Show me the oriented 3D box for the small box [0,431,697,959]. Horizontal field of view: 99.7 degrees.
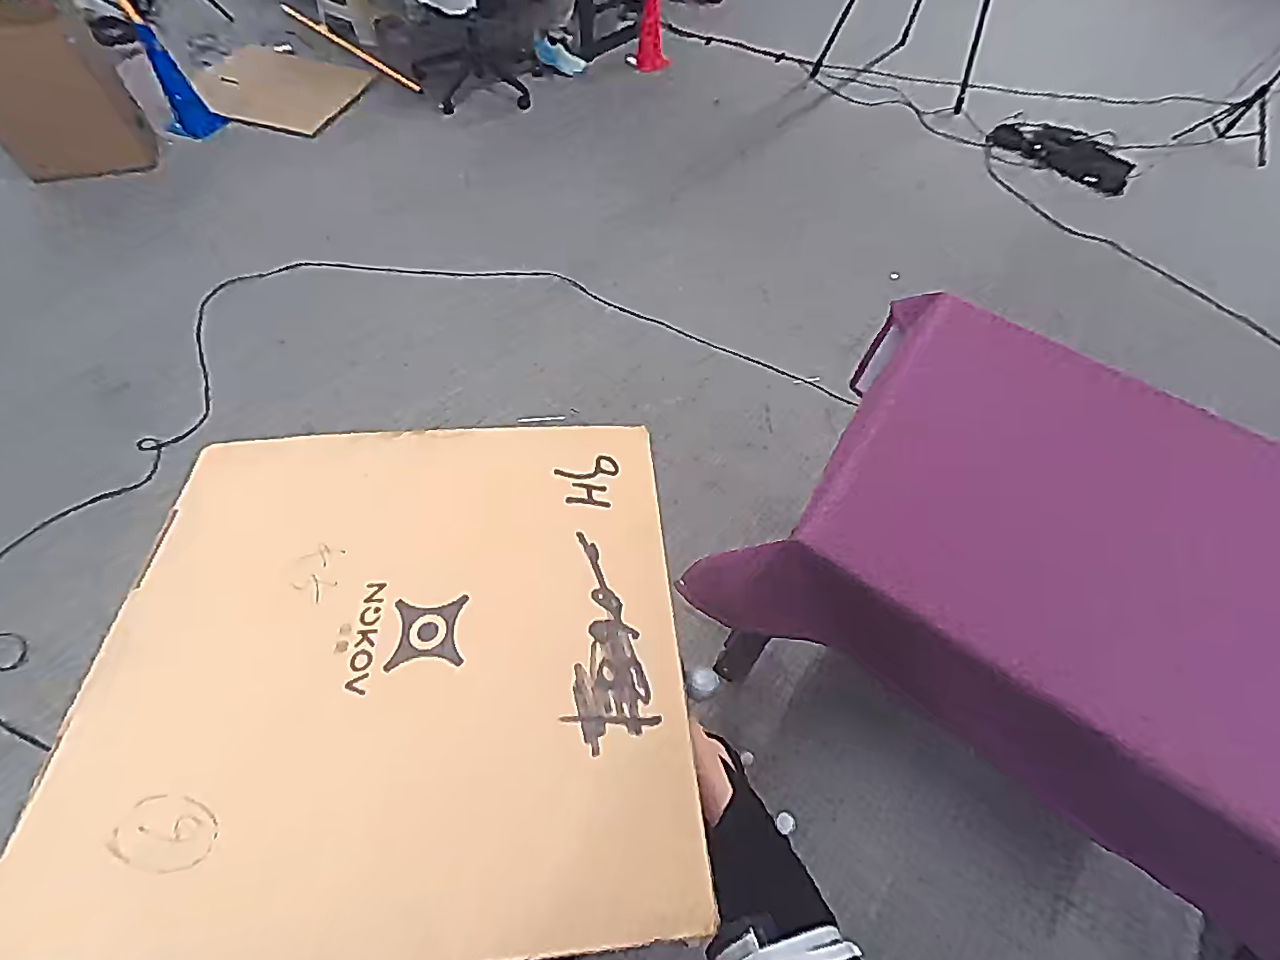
[{"bbox_3d":[-0.078,0.097,0.243,0.179,0.176,0.168,-3,55,-4],"label":"small box"}]
